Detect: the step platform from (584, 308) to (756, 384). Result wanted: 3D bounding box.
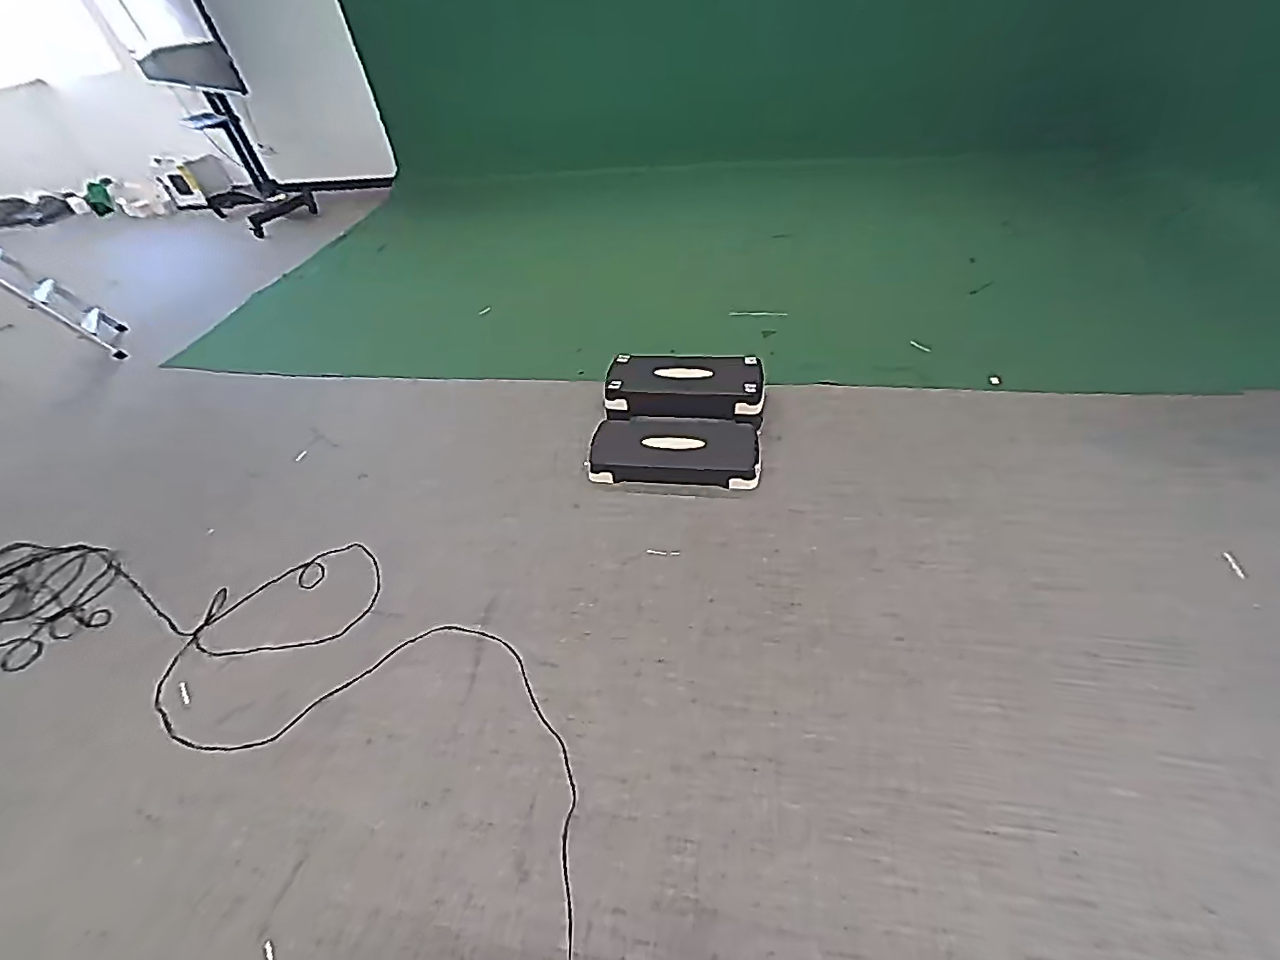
[{"bbox_3d":[0.128,-0.553,2.231,0.684,0.204,0.286,2,46,10],"label":"step platform"}]
